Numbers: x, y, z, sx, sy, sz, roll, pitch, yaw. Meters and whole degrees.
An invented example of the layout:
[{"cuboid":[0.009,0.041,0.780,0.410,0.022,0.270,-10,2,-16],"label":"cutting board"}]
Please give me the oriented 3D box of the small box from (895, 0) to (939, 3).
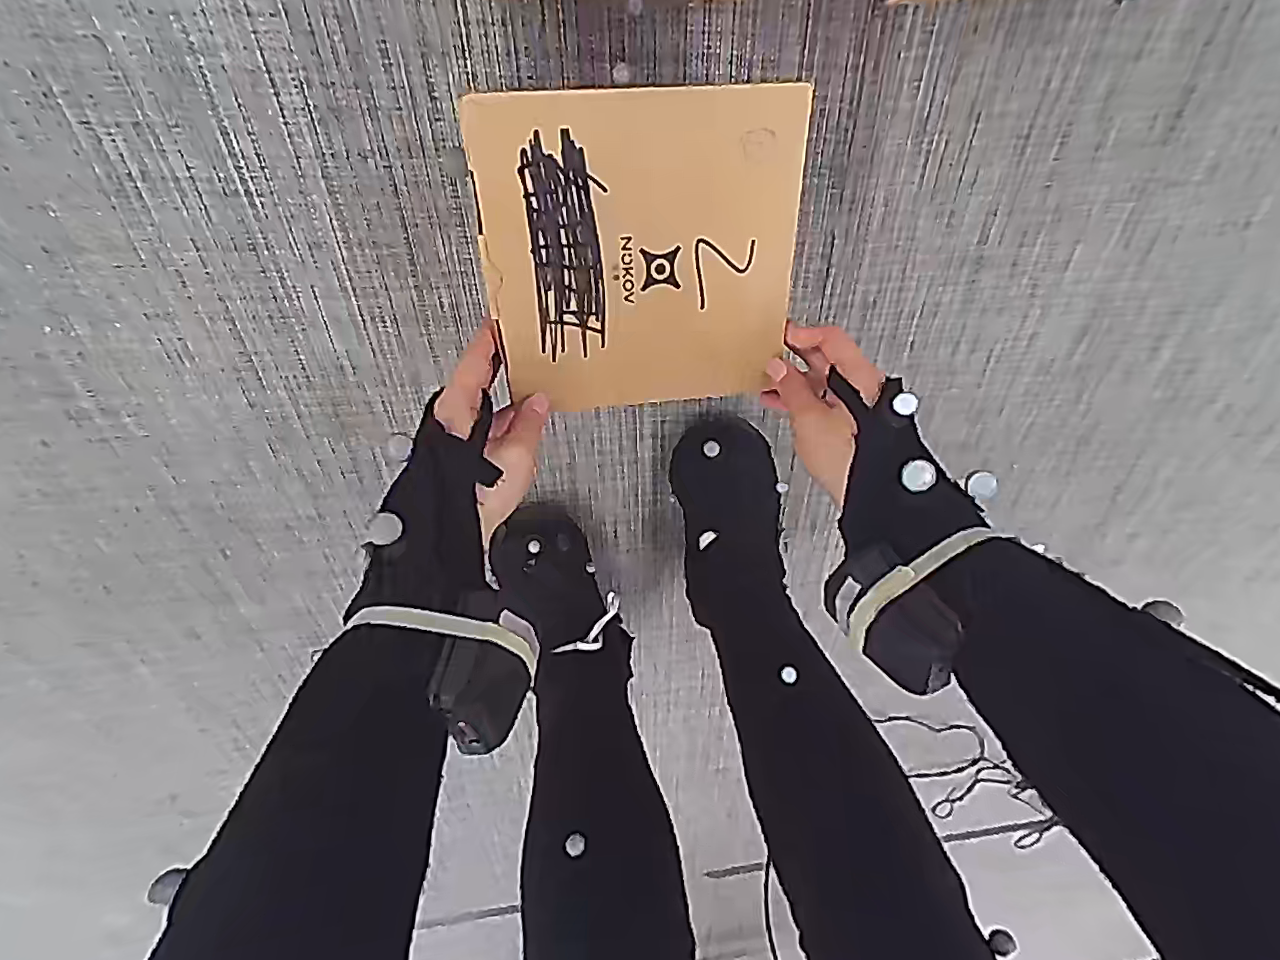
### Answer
[{"cuboid":[0.260,-0.368,0.278,0.179,0.176,0.168,-8,126,-3],"label":"small box"}]
